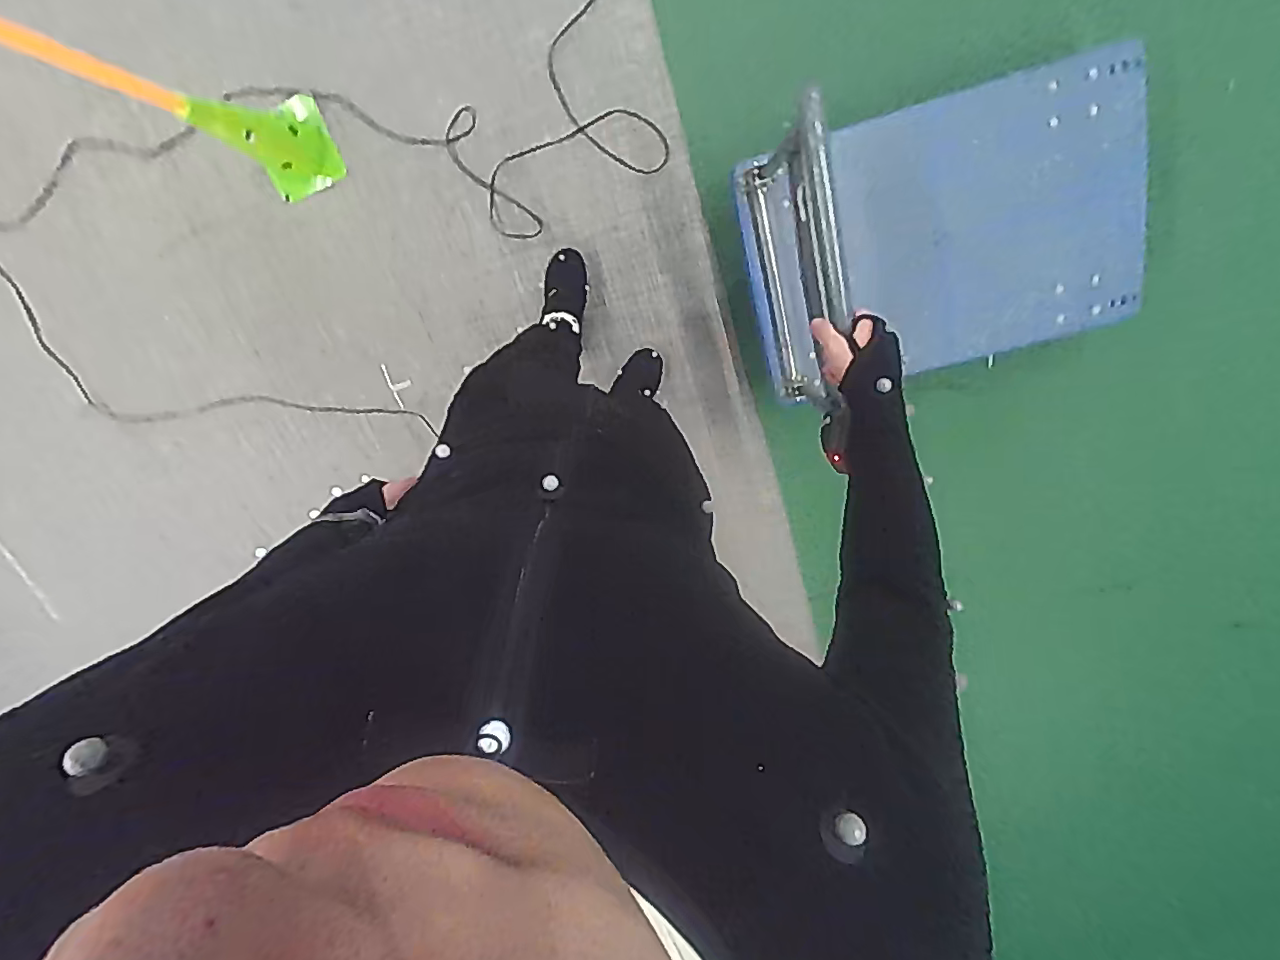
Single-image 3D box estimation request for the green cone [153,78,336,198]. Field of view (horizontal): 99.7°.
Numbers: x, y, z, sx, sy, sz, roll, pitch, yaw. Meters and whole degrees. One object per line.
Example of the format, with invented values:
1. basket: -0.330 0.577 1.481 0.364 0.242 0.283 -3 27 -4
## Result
1. green cone: -0.896 -0.792 1.198 0.200 0.368 0.202 -20 106 9
